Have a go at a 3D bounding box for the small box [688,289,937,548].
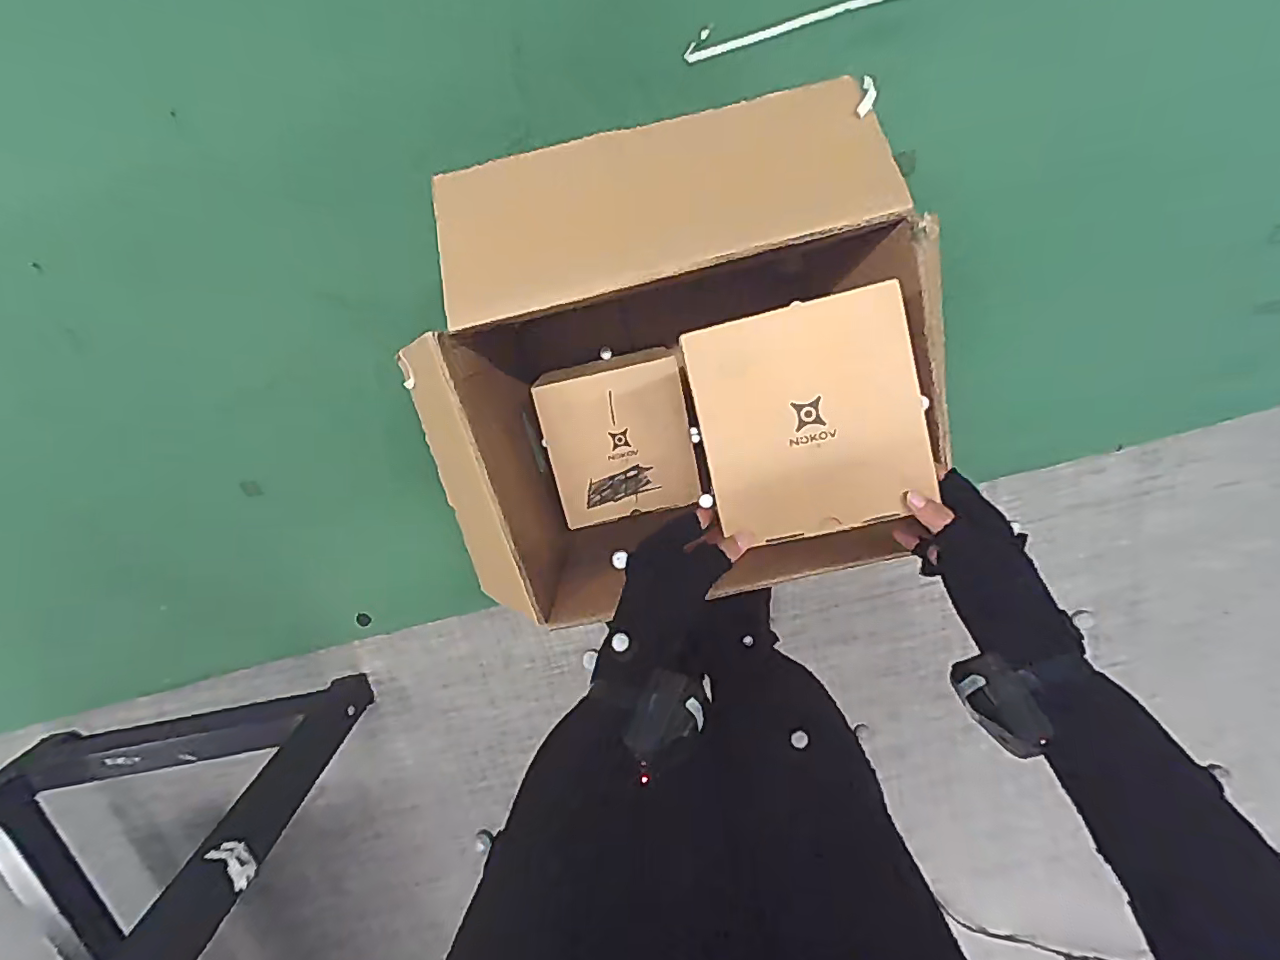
[{"bbox_3d":[0.140,-0.051,0.499,0.168,0.176,0.179,-12,94,8],"label":"small box"}]
